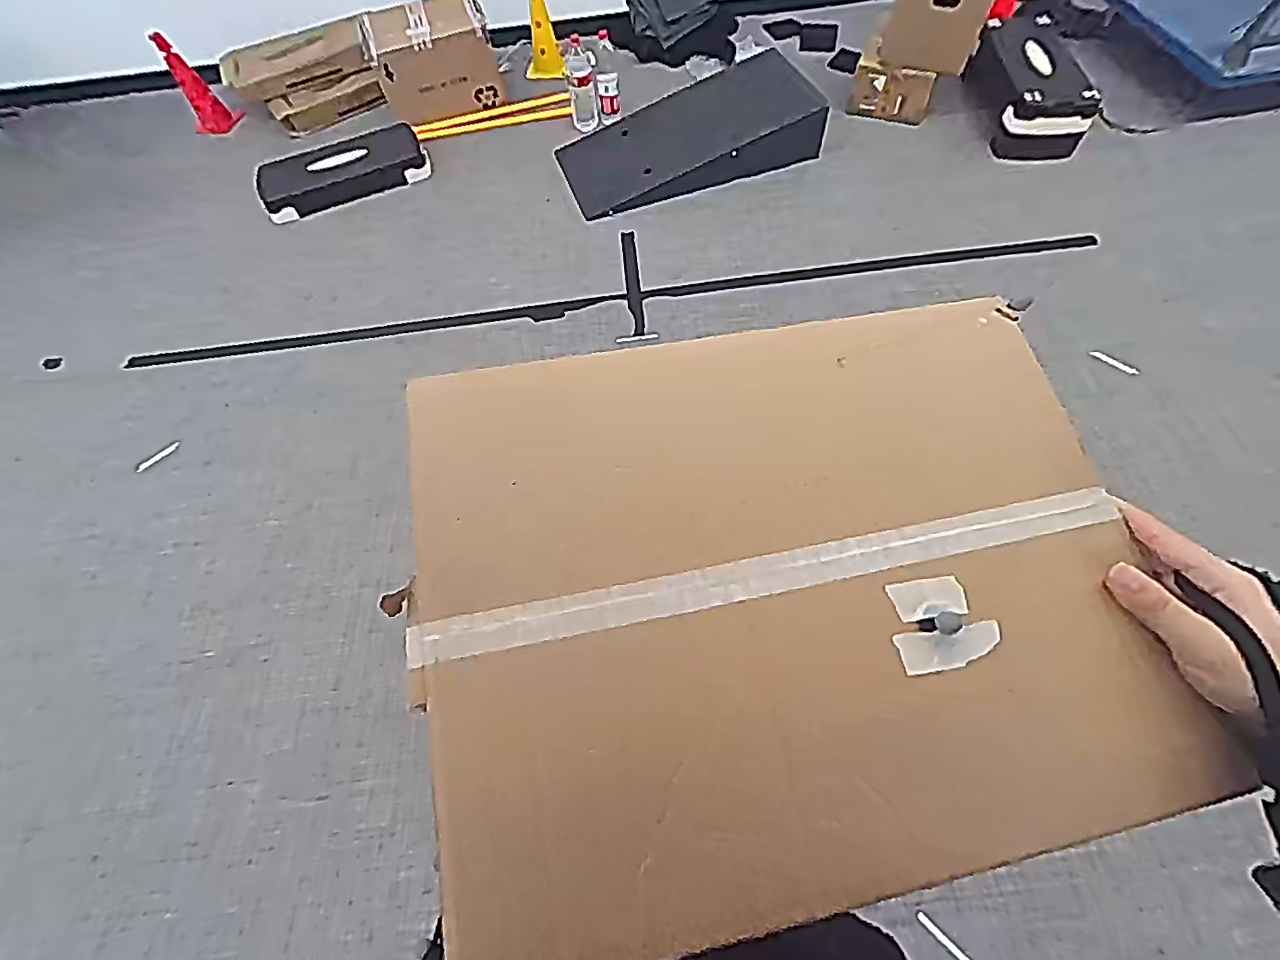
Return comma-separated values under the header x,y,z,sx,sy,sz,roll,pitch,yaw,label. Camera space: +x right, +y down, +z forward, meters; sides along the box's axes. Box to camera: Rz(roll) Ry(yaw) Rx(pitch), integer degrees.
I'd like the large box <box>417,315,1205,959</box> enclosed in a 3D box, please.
x,y,z,sx,sy,sz,roll,pitch,yaw,label
0.074,0.108,0.454,0.408,0.320,0.320,-10,71,-8,large box
